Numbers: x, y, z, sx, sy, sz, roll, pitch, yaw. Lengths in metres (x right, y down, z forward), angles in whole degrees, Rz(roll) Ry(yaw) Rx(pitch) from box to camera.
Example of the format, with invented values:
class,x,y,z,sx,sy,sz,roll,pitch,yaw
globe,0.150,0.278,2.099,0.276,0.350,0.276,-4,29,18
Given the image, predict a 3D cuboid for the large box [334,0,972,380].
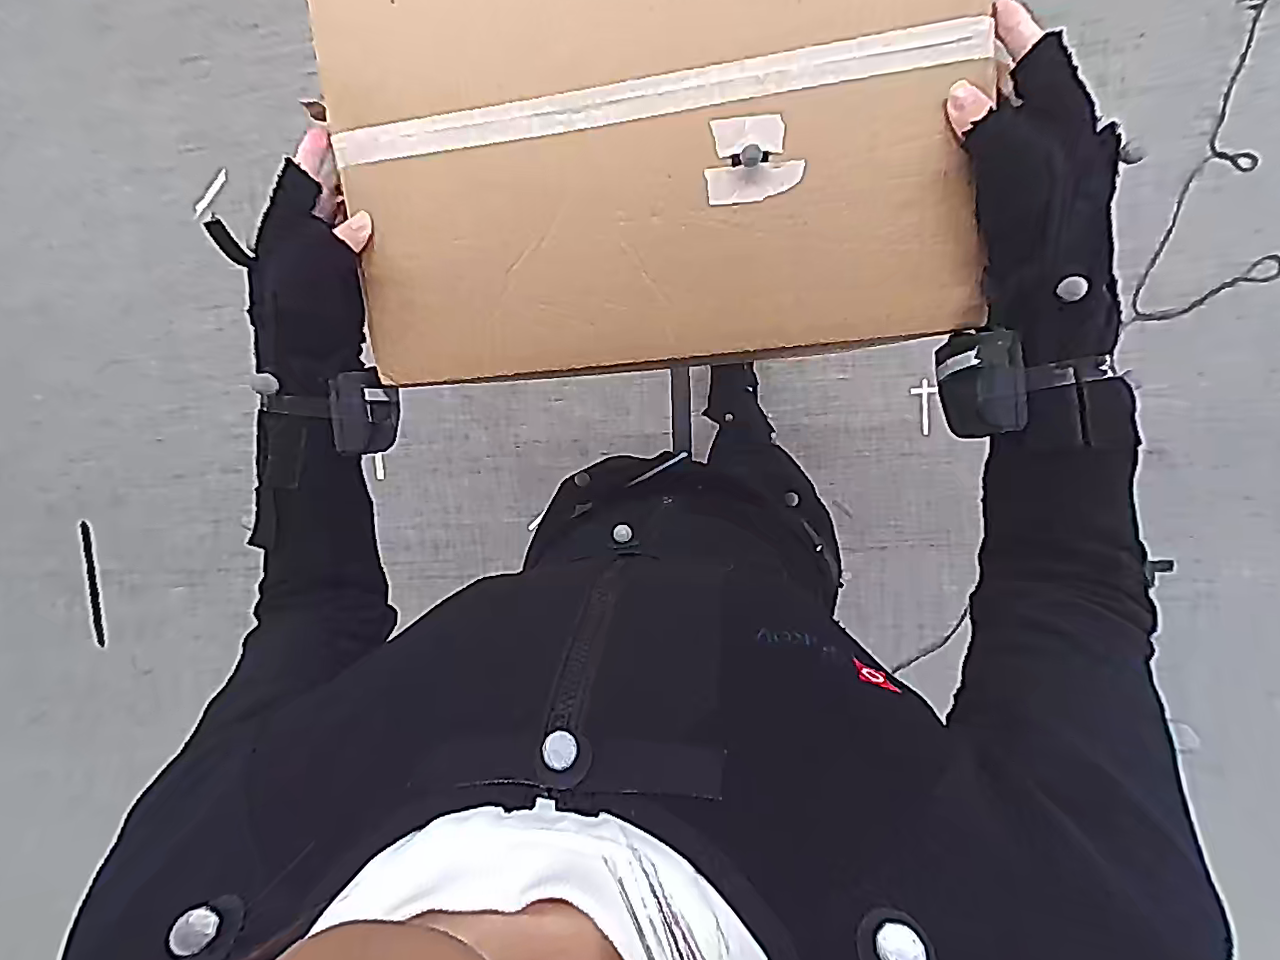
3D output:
class,x,y,z,sx,sy,sz,roll,pitch,yaw
large box,0.017,-0.269,0.494,0.408,0.320,0.320,-5,101,7
